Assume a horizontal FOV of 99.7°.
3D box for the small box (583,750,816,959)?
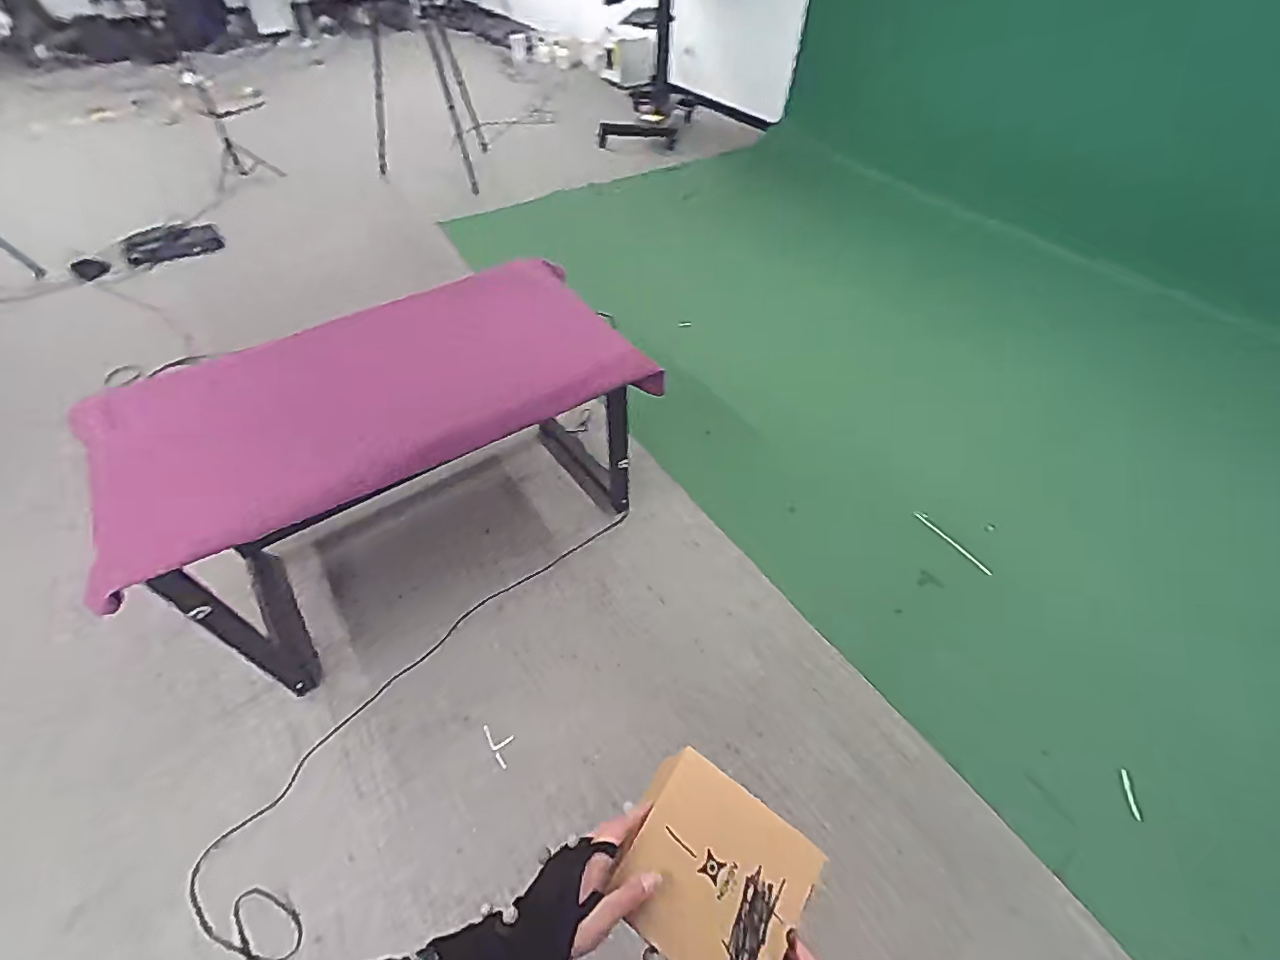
[{"bbox_3d":[0.055,0.434,0.596,0.179,0.176,0.168,34,57,13],"label":"small box"}]
